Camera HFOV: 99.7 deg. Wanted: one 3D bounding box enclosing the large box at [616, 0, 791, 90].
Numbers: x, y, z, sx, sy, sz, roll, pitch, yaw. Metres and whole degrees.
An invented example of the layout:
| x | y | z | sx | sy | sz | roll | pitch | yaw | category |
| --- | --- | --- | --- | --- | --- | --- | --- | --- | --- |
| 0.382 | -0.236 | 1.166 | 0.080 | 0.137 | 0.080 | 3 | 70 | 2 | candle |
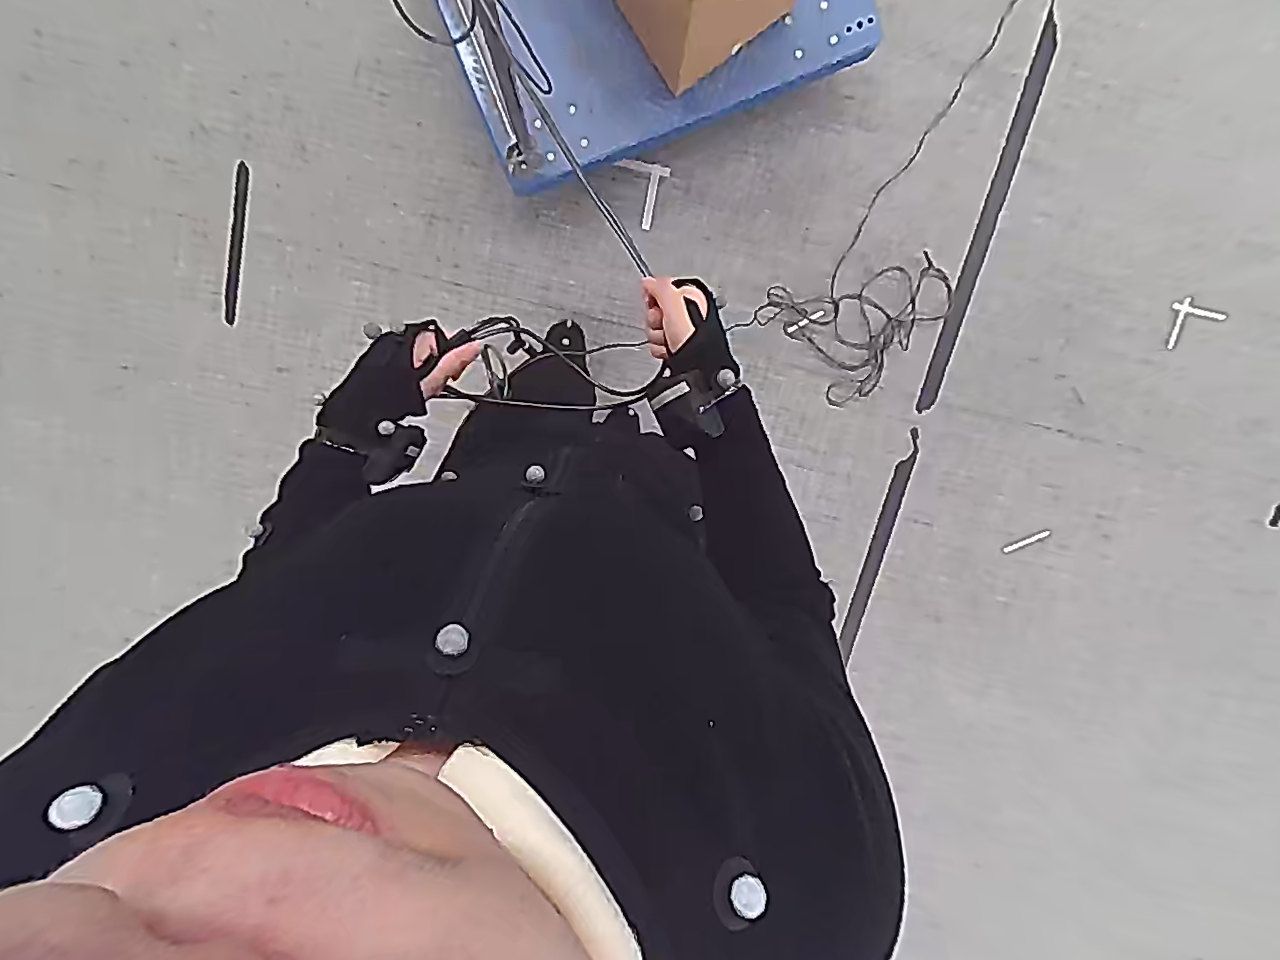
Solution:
| x | y | z | sx | sy | sz | roll | pitch | yaw | category |
| --- | --- | --- | --- | --- | --- | --- | --- | --- | --- |
| 0.088 | -1.049 | 0.974 | 0.320 | 0.320 | 0.408 | -36 | 100 | 5 | large box |
